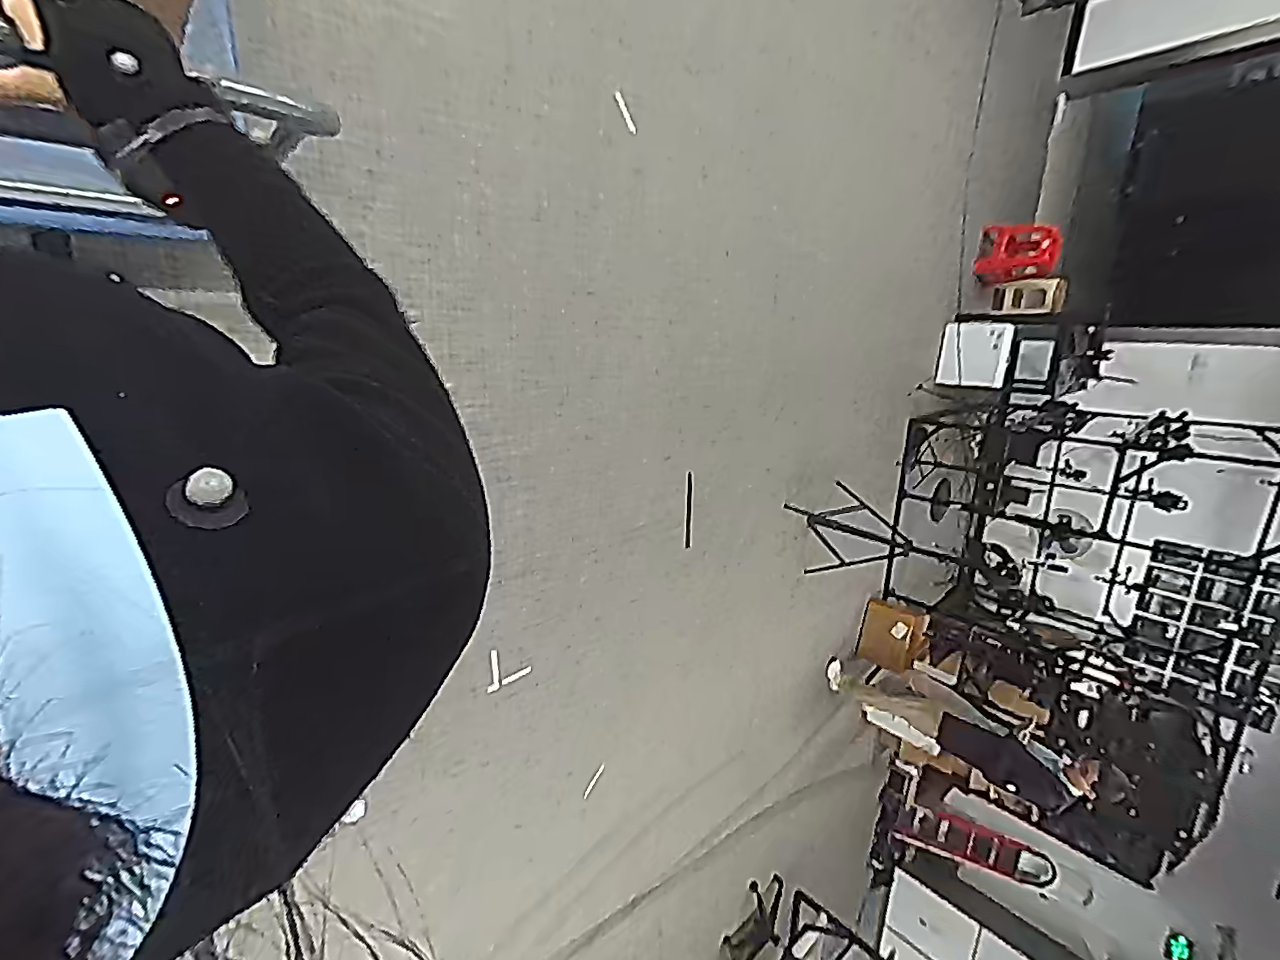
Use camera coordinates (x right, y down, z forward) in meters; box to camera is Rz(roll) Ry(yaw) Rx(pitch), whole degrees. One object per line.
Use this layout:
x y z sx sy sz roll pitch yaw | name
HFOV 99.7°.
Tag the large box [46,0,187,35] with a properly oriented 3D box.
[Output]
-0.838 -0.839 0.657 0.408 0.320 0.320 -12 109 -42 | large box
